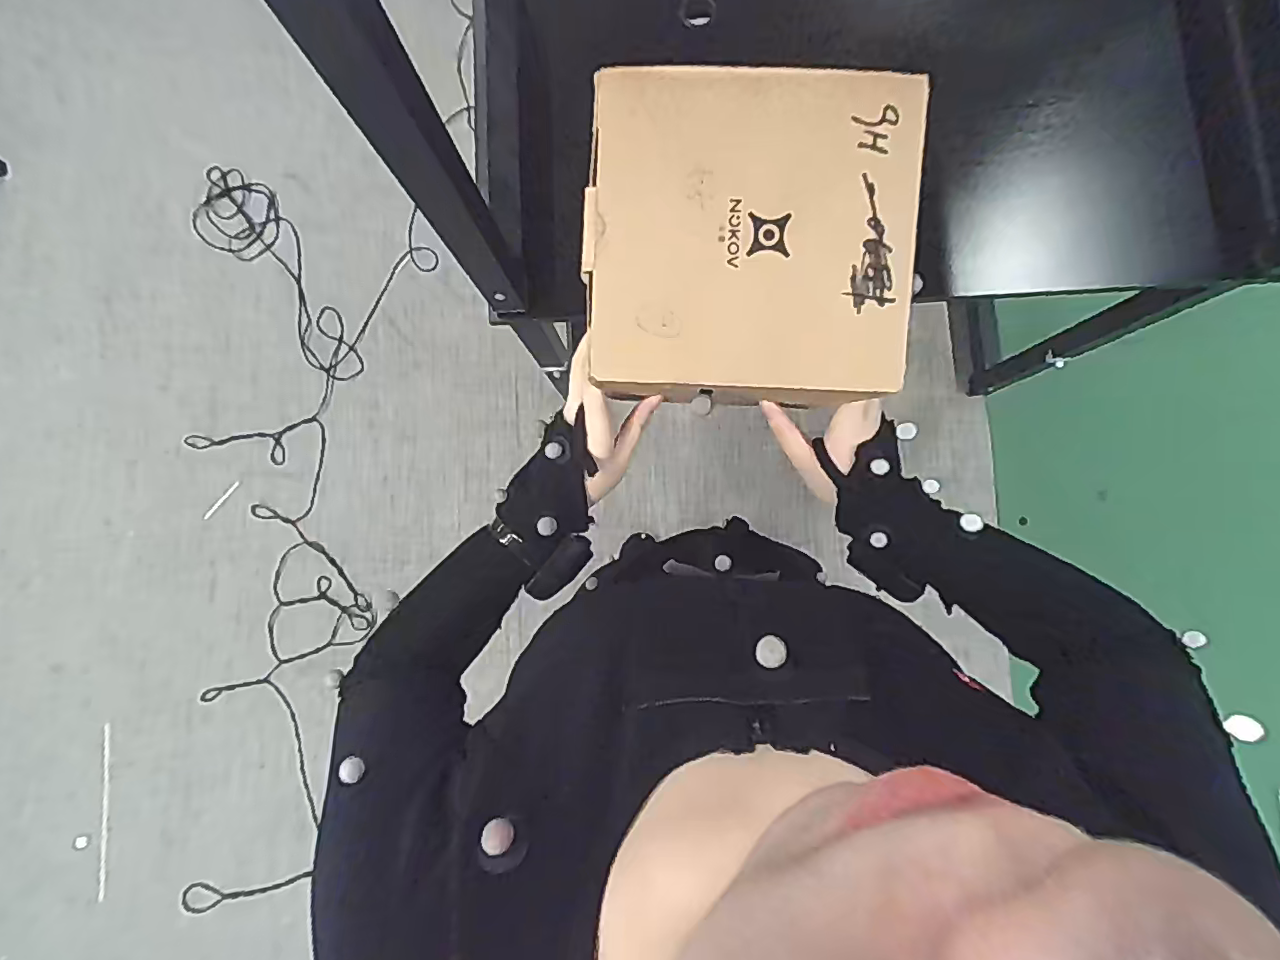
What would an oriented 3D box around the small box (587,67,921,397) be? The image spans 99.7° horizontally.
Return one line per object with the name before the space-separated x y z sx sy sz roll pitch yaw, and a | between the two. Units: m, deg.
small box | 0.063 -0.146 0.378 0.179 0.176 0.168 2 96 2
